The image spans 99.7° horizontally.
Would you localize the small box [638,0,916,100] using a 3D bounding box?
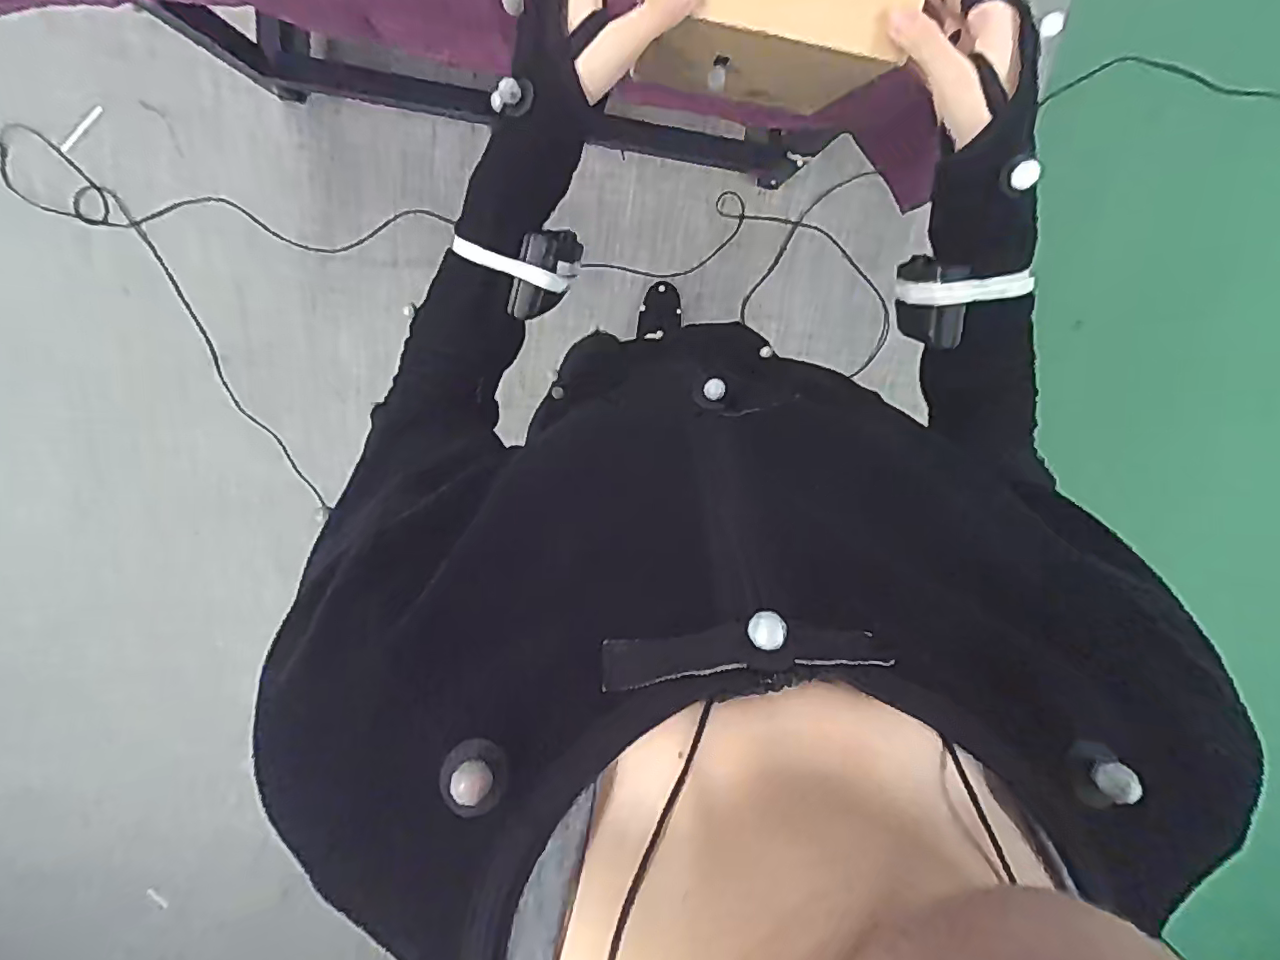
[{"bbox_3d":[0.092,-0.387,0.366,0.168,0.176,0.179,6,112,-7],"label":"small box"}]
